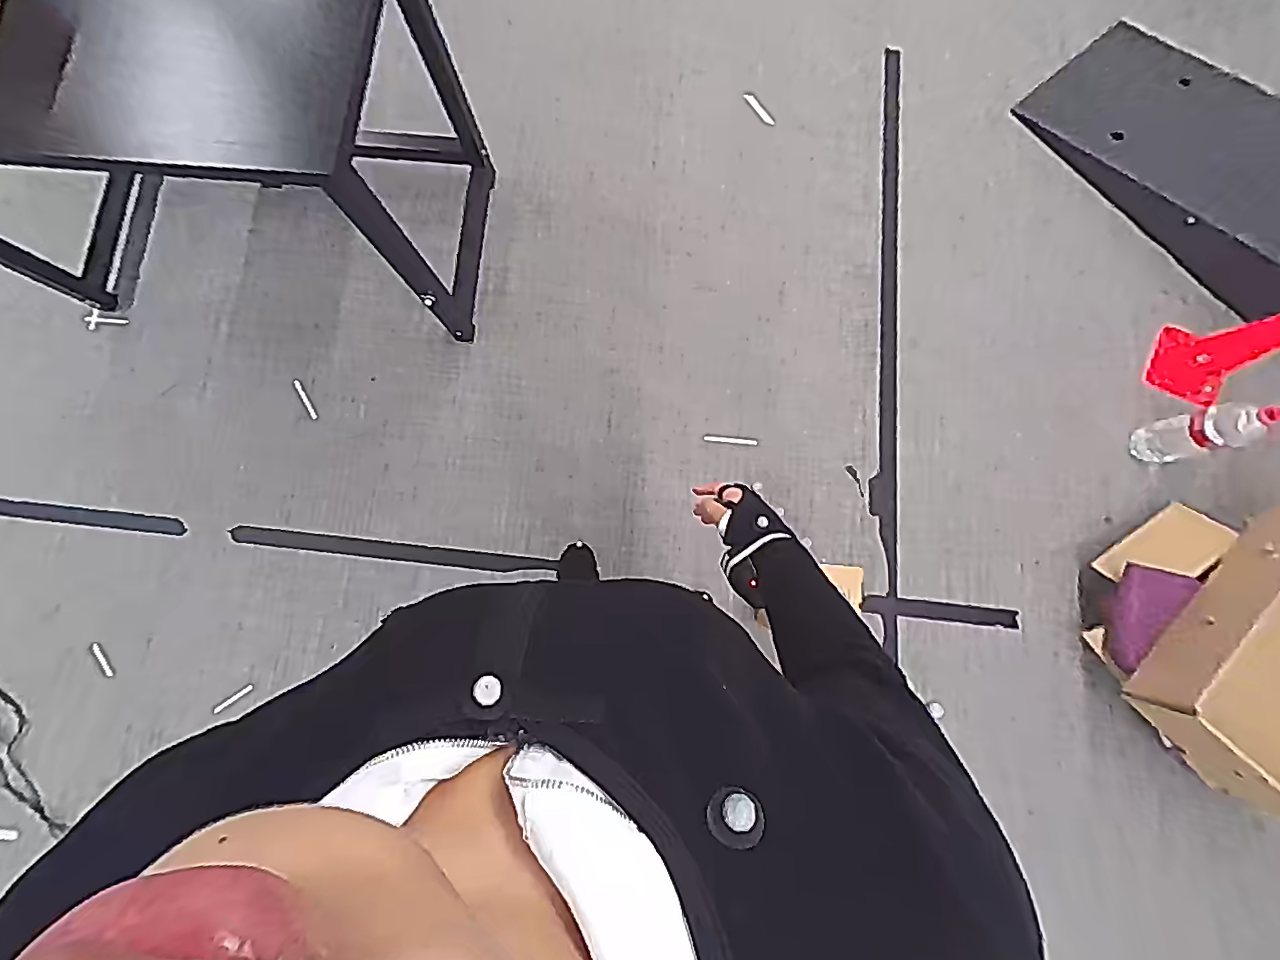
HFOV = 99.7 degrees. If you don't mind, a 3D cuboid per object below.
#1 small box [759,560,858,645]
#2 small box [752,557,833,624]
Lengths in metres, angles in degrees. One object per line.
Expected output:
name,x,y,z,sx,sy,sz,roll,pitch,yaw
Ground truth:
small box,0.381,0.275,1.245,0.179,0.176,0.168,5,81,3
small box,0.391,0.299,1.408,0.168,0.176,0.179,5,81,3
